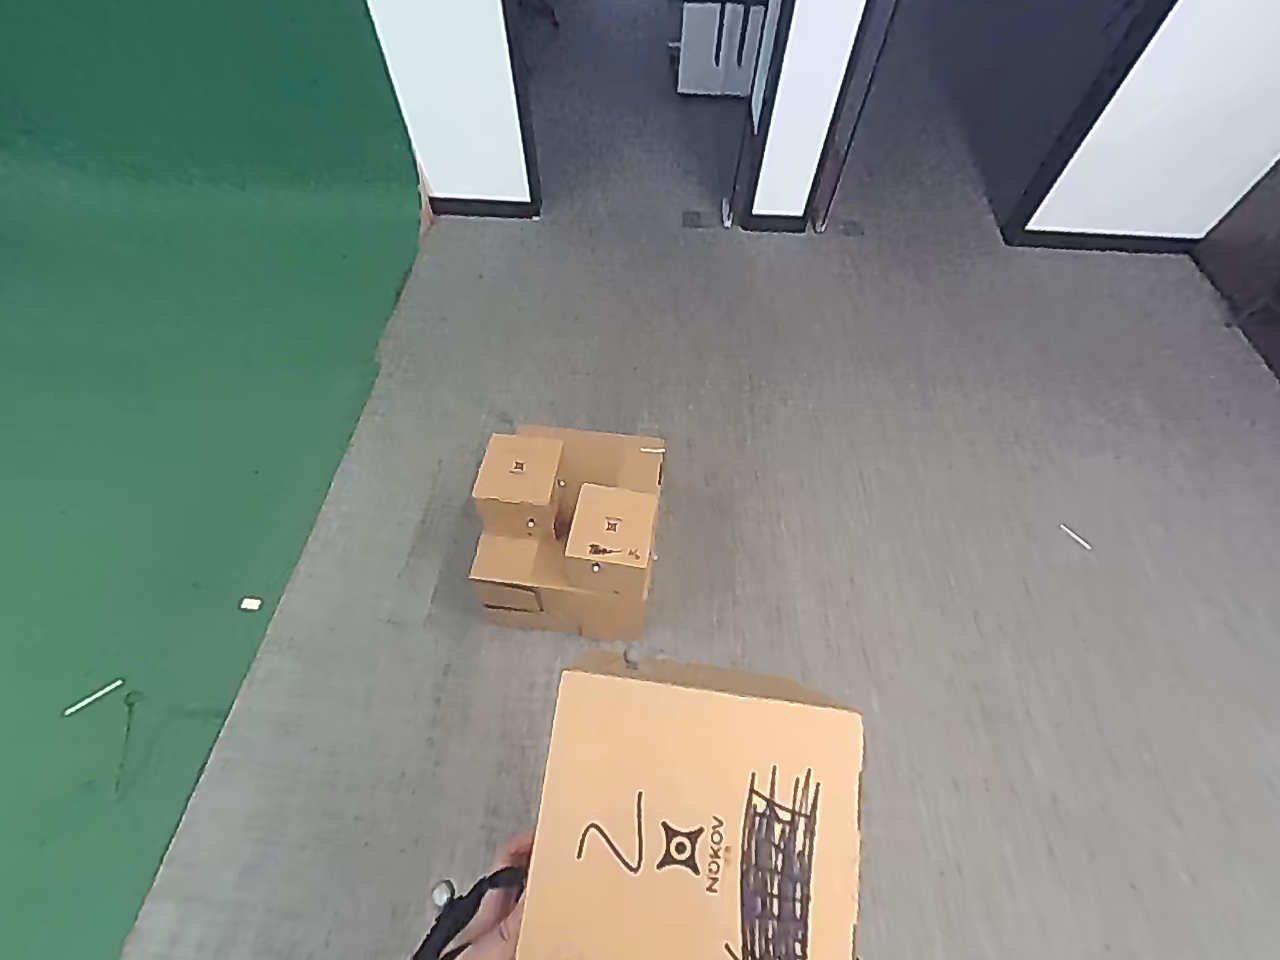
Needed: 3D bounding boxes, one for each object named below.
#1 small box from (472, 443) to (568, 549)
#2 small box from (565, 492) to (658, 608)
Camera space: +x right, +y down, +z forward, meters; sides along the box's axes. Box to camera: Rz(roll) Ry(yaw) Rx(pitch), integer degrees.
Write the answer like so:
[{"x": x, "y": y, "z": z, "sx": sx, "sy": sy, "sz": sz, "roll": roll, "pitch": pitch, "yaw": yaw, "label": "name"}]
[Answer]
[{"x": -0.263, "y": 0.042, "z": 1.239, "sx": 0.168, "sy": 0.176, "sz": 0.179, "roll": 6, "pitch": 54, "yaw": 3, "label": "small box"}, {"x": -0.058, "y": 0.153, "z": 1.164, "sx": 0.168, "sy": 0.176, "sz": 0.179, "roll": 8, "pitch": 55, "yaw": 3, "label": "small box"}]
